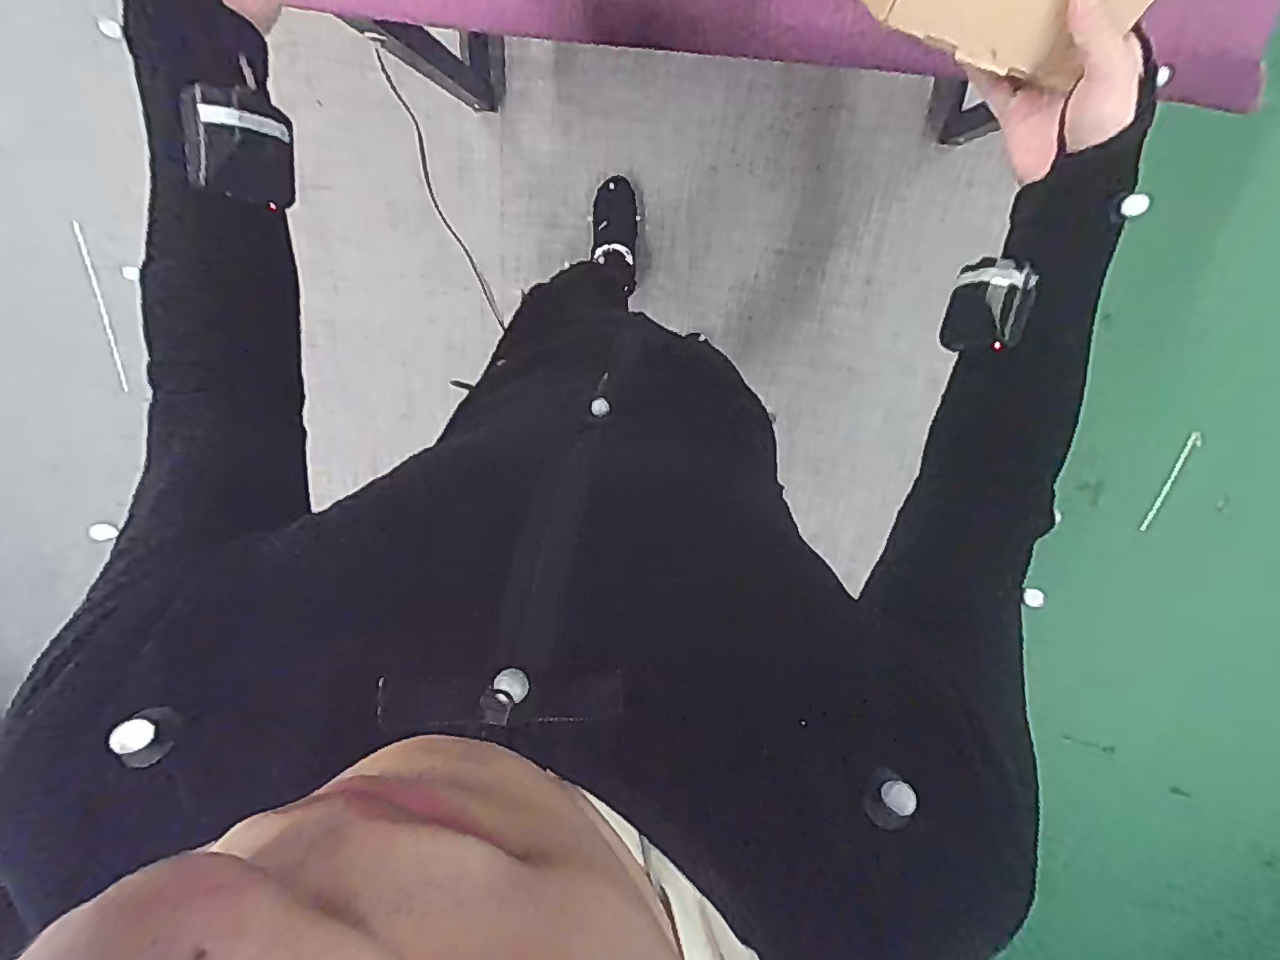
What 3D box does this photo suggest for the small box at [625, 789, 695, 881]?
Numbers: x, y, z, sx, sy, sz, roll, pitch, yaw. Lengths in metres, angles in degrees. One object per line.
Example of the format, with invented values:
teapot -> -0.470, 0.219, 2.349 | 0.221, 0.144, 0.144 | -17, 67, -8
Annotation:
small box -> 0.064, 1.102, 1.689 | 0.179, 0.176, 0.168 | 15, 113, -3

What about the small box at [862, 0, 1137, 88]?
small box -> 0.250, -0.407, 0.350 | 0.168, 0.176, 0.179 | 8, 143, -14
